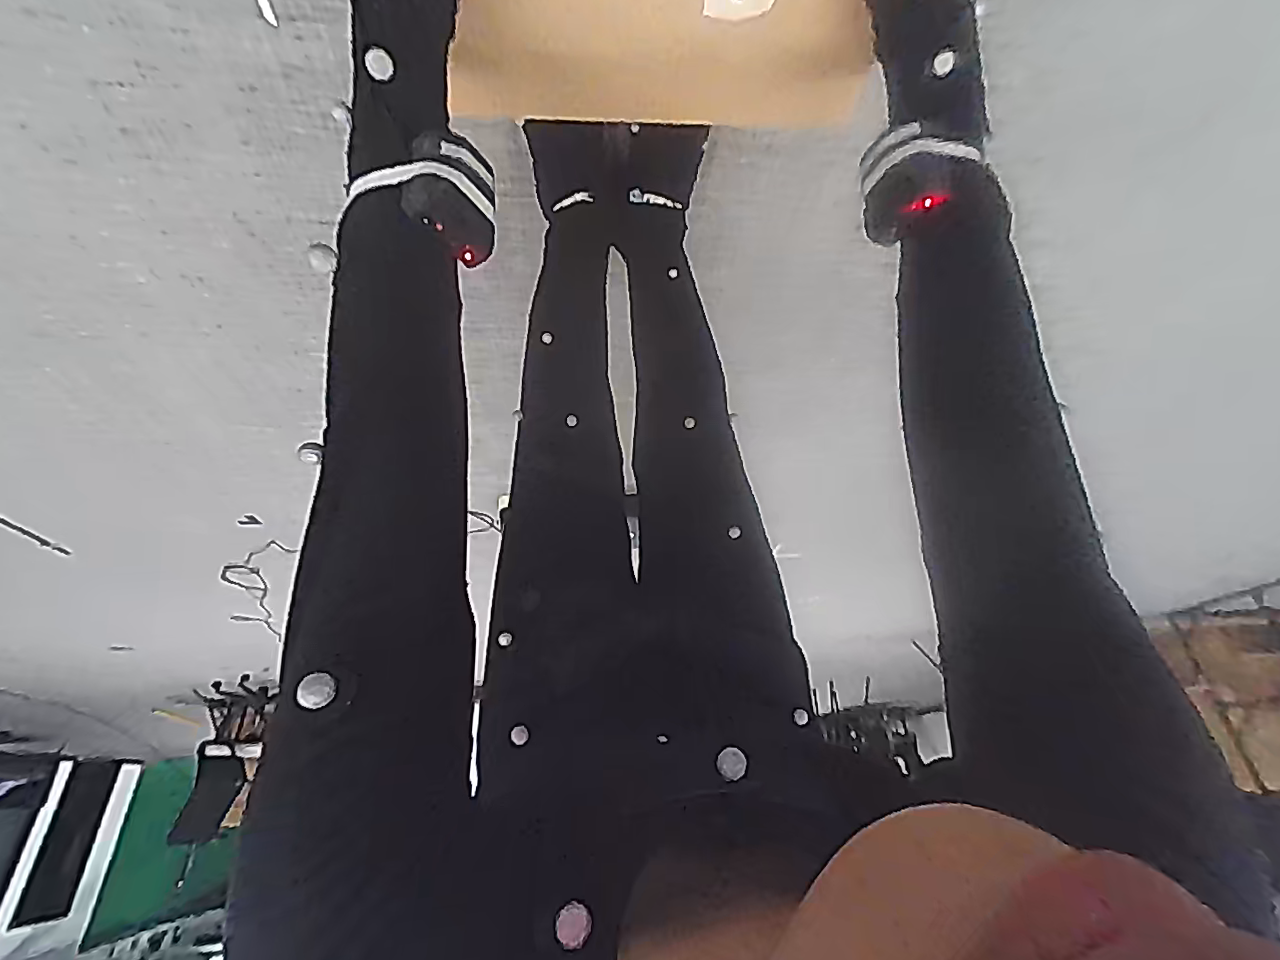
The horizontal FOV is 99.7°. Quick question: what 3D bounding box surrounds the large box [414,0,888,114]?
[{"bbox_3d":[0.004,-0.558,0.461,0.408,0.320,0.320,-3,151,-6],"label":"large box"}]
